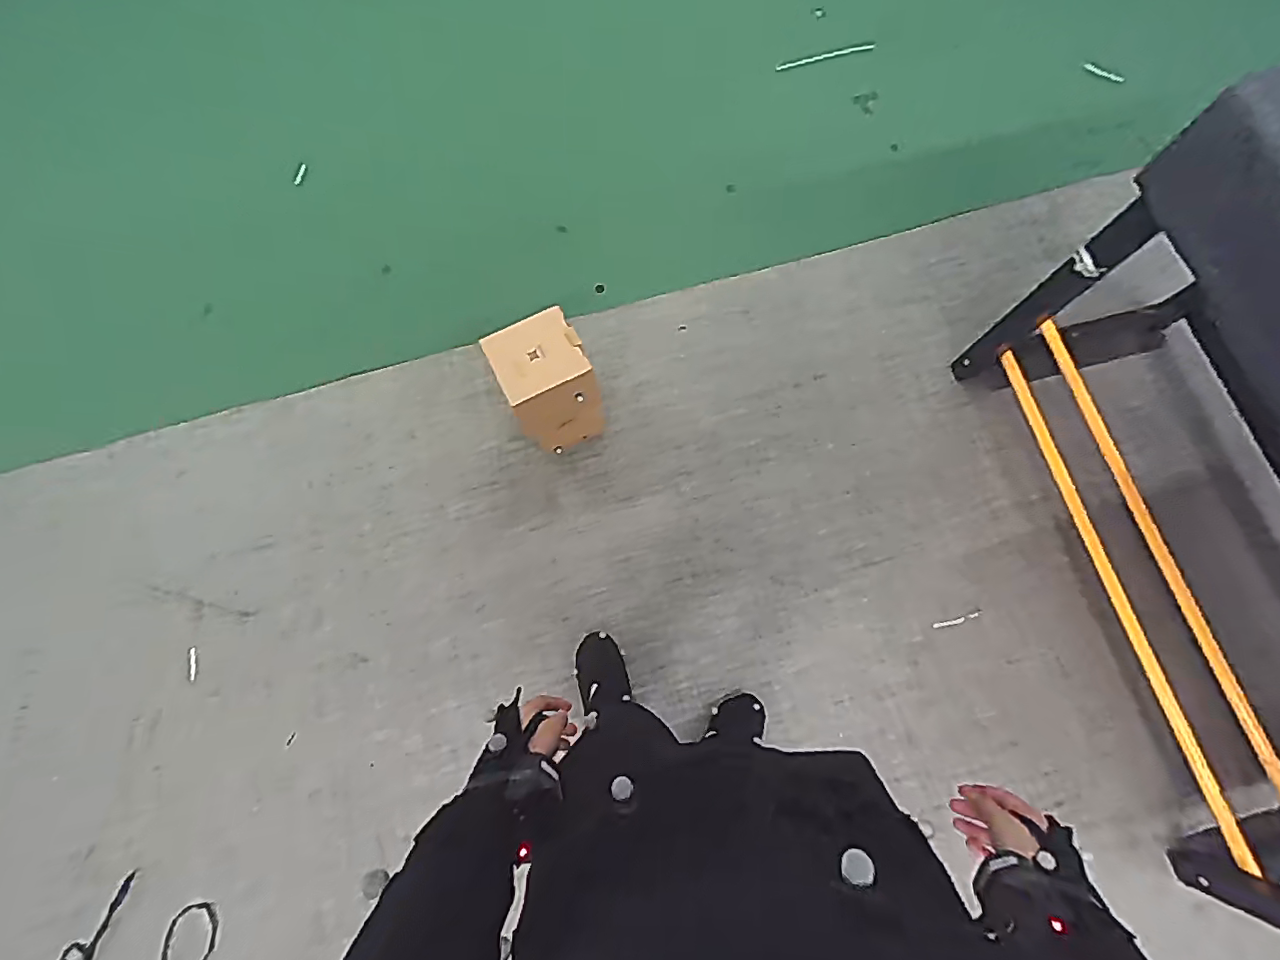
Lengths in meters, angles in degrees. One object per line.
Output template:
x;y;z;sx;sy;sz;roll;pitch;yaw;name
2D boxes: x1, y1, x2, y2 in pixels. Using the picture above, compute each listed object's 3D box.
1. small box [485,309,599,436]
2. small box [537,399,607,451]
-0.196;-0.219;1.139;0.179;0.176;0.168;-27;74;-5;small box
-0.189;-0.186;1.298;0.168;0.176;0.179;-24;74;-5;small box
